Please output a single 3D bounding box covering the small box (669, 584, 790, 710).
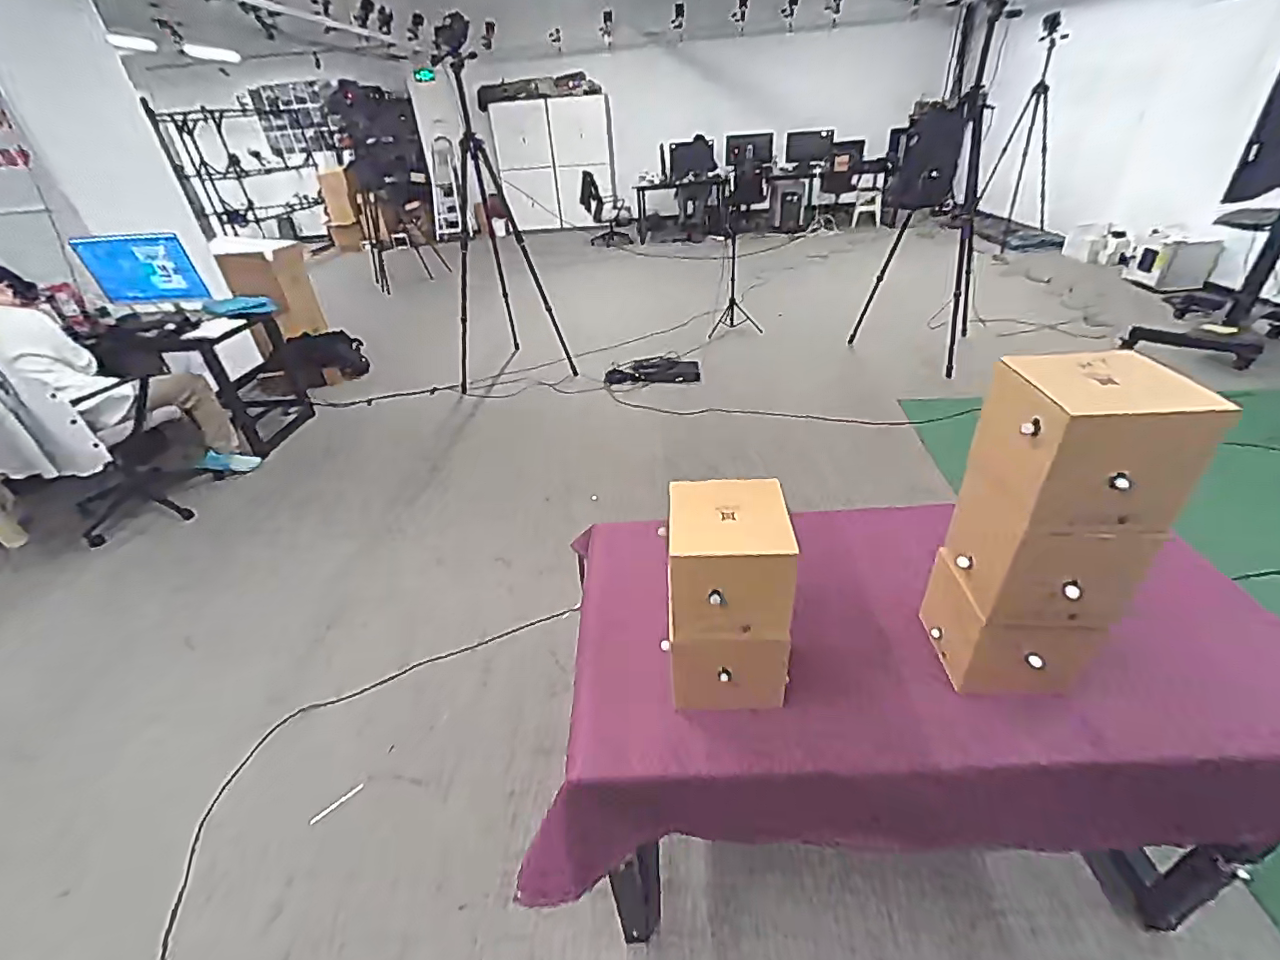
[{"bbox_3d":[0.137,0.256,0.885,0.179,0.176,0.168,-3,33,4],"label":"small box"}]

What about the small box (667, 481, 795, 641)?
[{"bbox_3d":[0.128,0.119,0.797,0.168,0.176,0.179,-2,32,5],"label":"small box"}]

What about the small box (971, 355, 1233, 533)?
[{"bbox_3d":[0.557,-0.045,0.687,0.168,0.176,0.179,-1,33,7],"label":"small box"}]

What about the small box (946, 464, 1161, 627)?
[{"bbox_3d":[0.571,0.092,0.779,0.168,0.176,0.179,0,34,8],"label":"small box"}]
